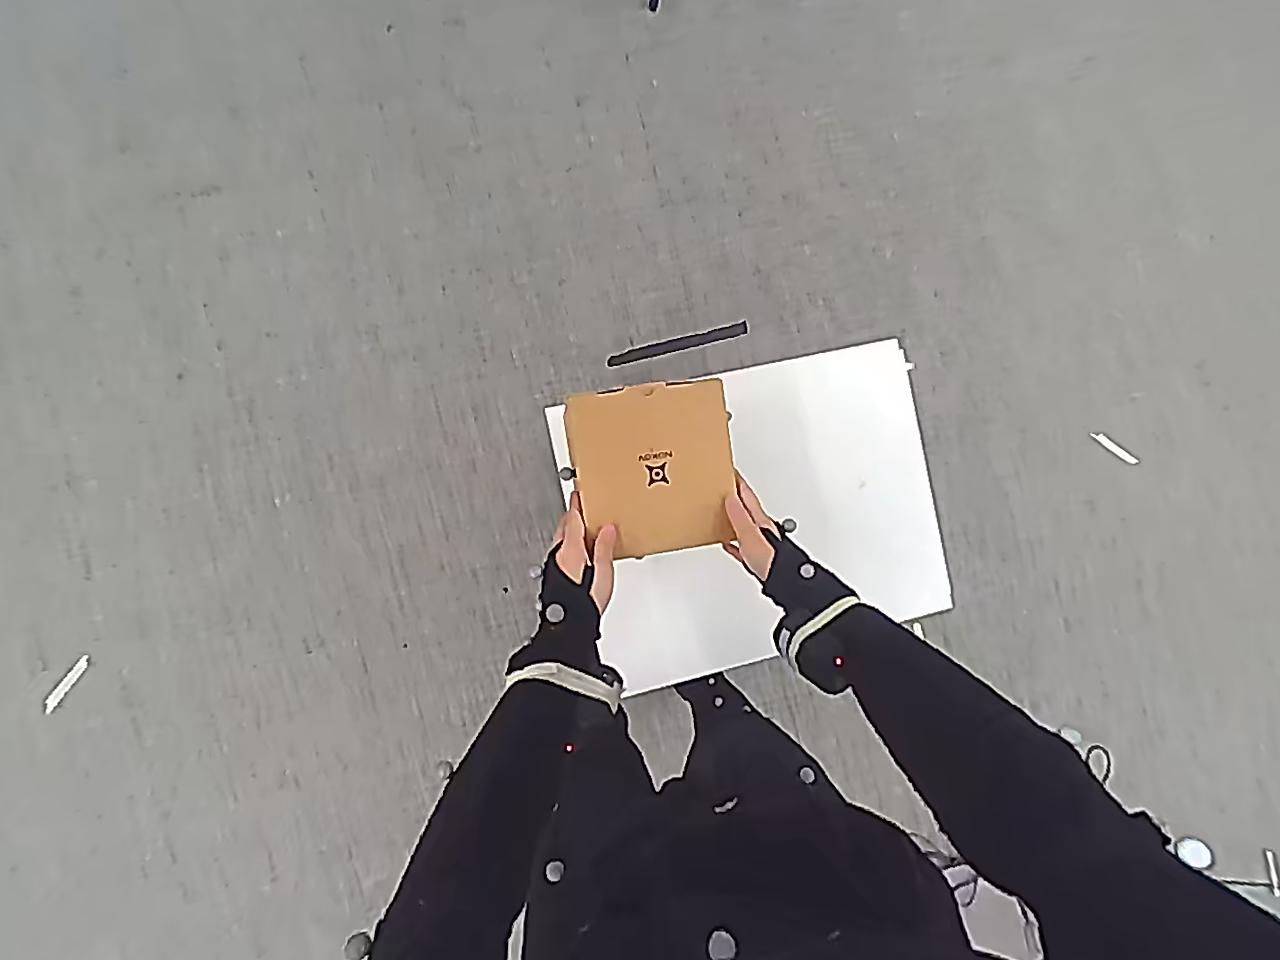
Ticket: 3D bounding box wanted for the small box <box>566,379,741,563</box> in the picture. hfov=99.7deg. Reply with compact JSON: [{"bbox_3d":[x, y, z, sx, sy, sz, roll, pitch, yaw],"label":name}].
[{"bbox_3d":[0.006,-0.012,0.638,0.168,0.176,0.179,-8,91,-8],"label":"small box"}]
